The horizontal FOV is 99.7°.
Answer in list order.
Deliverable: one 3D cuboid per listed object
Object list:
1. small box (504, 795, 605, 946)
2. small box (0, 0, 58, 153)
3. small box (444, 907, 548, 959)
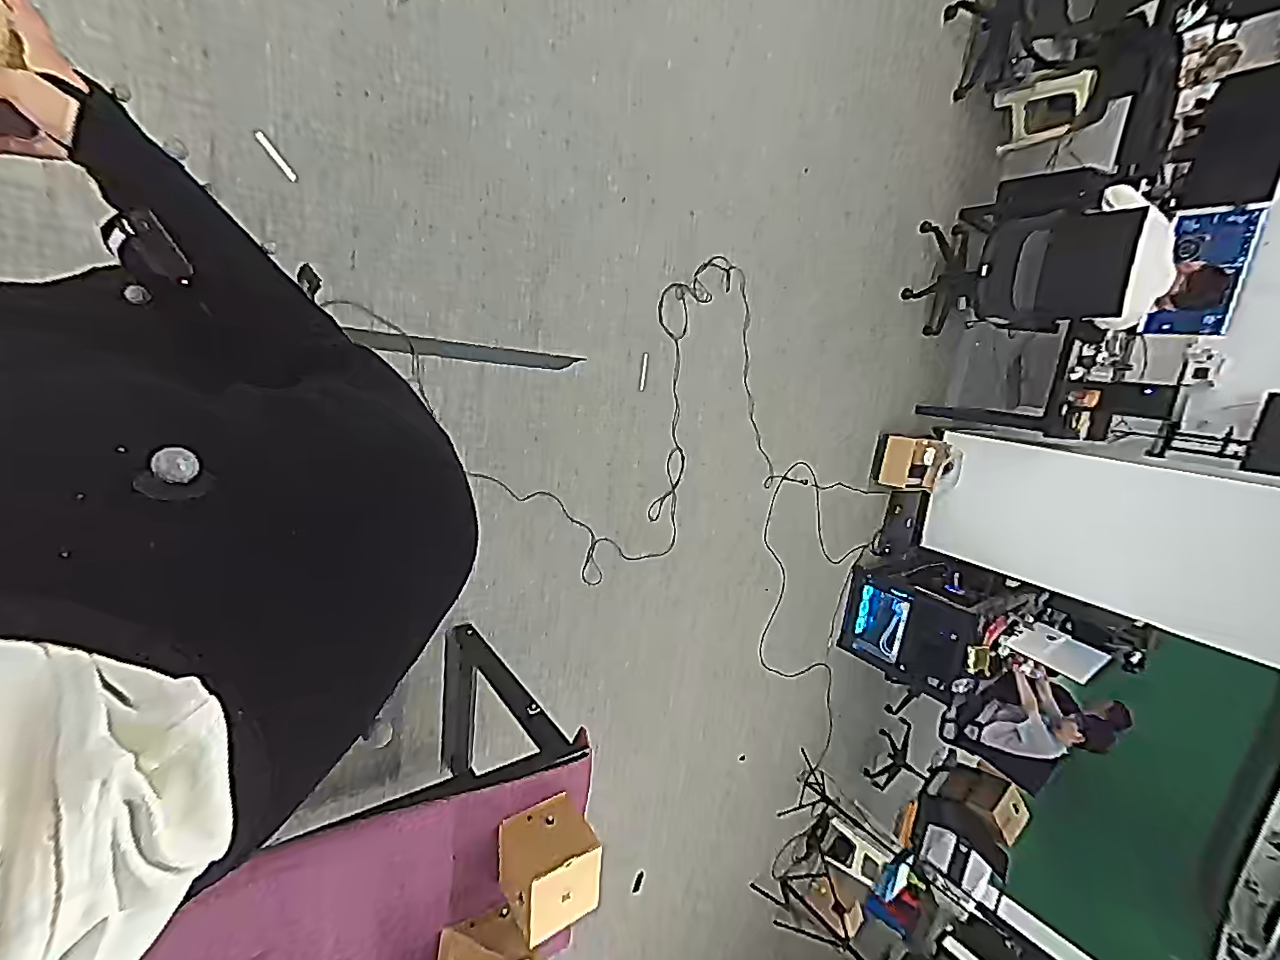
[{"bbox_3d":[-0.193,0.848,1.193,0.168,0.176,0.179,-7,108,-35],"label":"small box"},{"bbox_3d":[-0.588,-0.356,0.395,0.179,0.176,0.168,-29,117,-42],"label":"small box"},{"bbox_3d":[-0.321,1.075,1.166,0.168,0.176,0.179,4,101,-39],"label":"small box"}]
